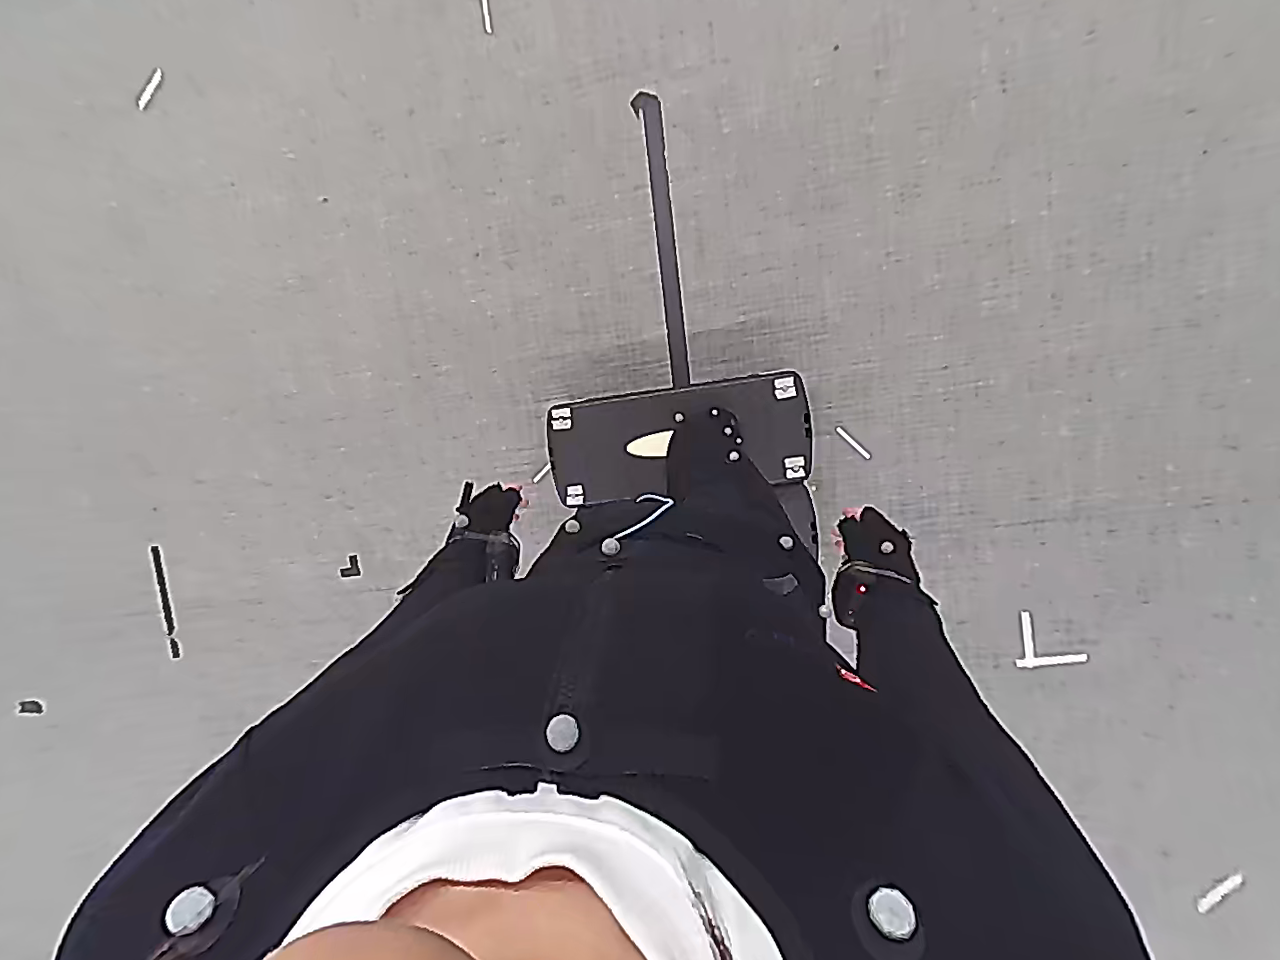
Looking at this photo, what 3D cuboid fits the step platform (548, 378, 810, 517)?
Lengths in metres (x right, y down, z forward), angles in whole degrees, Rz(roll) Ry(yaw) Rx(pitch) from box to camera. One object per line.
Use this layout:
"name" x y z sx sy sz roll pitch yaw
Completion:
"step platform" 0.098 -0.083 1.452 0.684 0.204 0.286 -8 97 9
